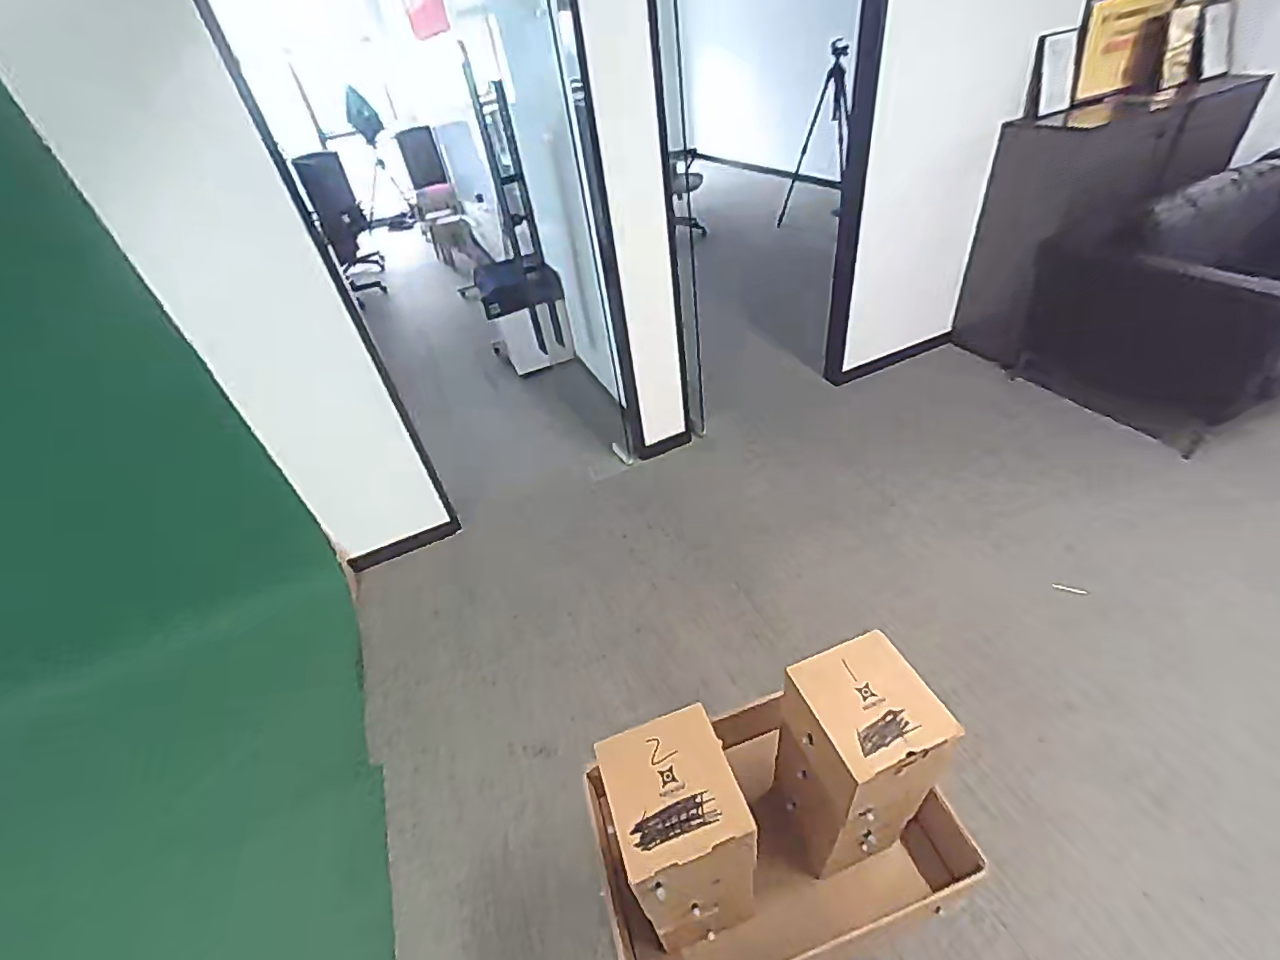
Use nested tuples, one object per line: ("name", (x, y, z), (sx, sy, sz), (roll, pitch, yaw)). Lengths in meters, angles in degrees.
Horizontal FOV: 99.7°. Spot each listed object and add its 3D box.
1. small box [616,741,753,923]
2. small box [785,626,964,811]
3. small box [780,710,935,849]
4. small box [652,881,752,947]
("small box", (0.067, 0.561, 0.865), (0.168, 0.176, 0.179), (-16, 41, -8))
("small box", (0.330, 0.357, 0.801), (0.168, 0.176, 0.179), (-18, 41, -10))
("small box", (0.349, 0.477, 0.911), (0.168, 0.176, 0.179), (-18, 42, -10))
("small box", (0.088, 0.684, 0.966), (0.168, 0.176, 0.179), (-17, 40, -8))
